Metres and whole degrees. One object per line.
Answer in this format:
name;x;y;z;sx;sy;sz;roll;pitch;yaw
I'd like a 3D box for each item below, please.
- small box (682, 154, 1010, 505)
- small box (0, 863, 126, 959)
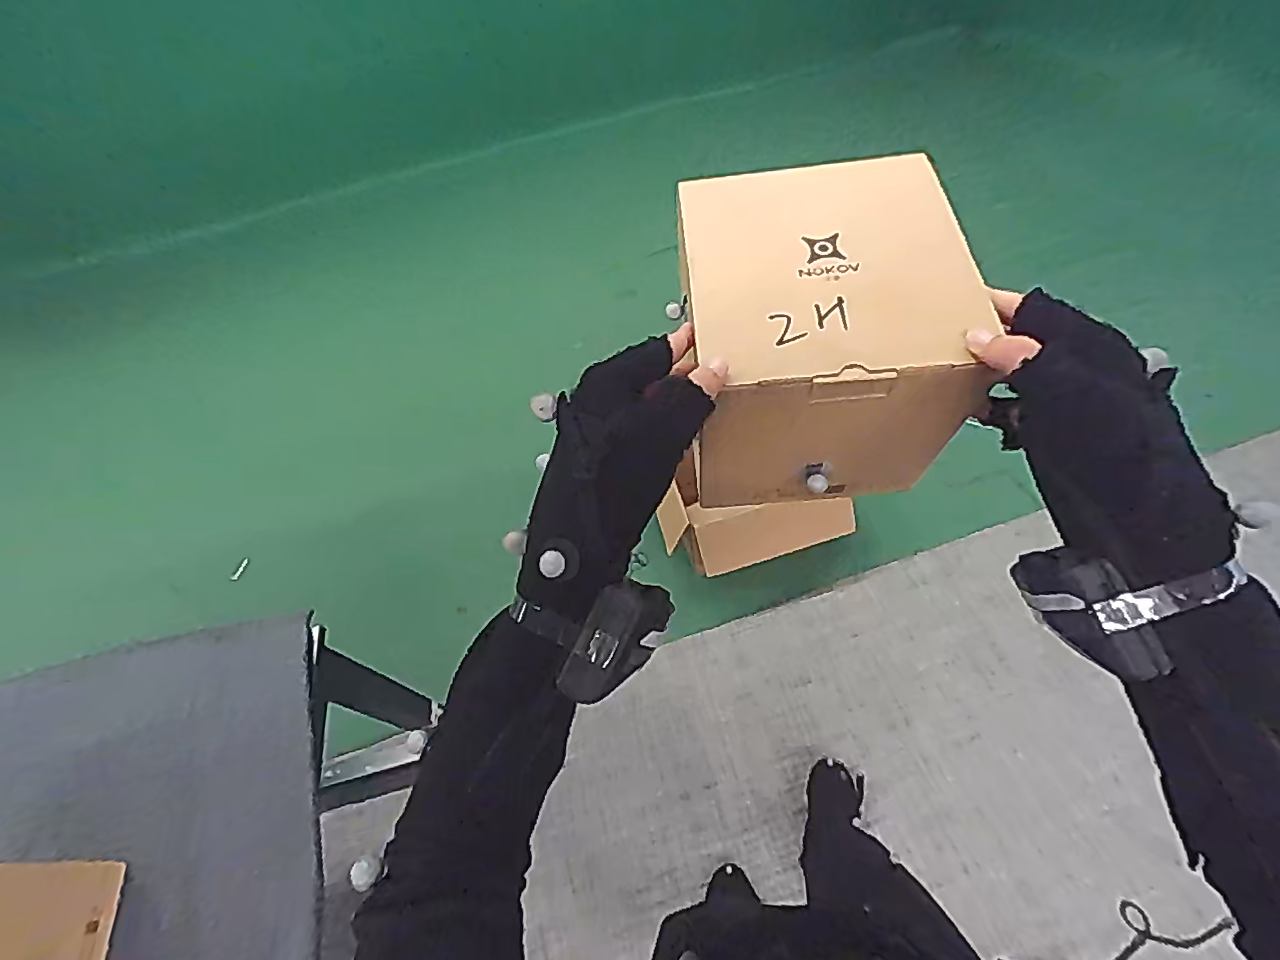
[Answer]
small box;0.118;-0.098;0.396;0.168;0.176;0.179;-5;63;5
small box;-0.682;0.500;0.536;0.179;0.176;0.168;-17;55;-2
